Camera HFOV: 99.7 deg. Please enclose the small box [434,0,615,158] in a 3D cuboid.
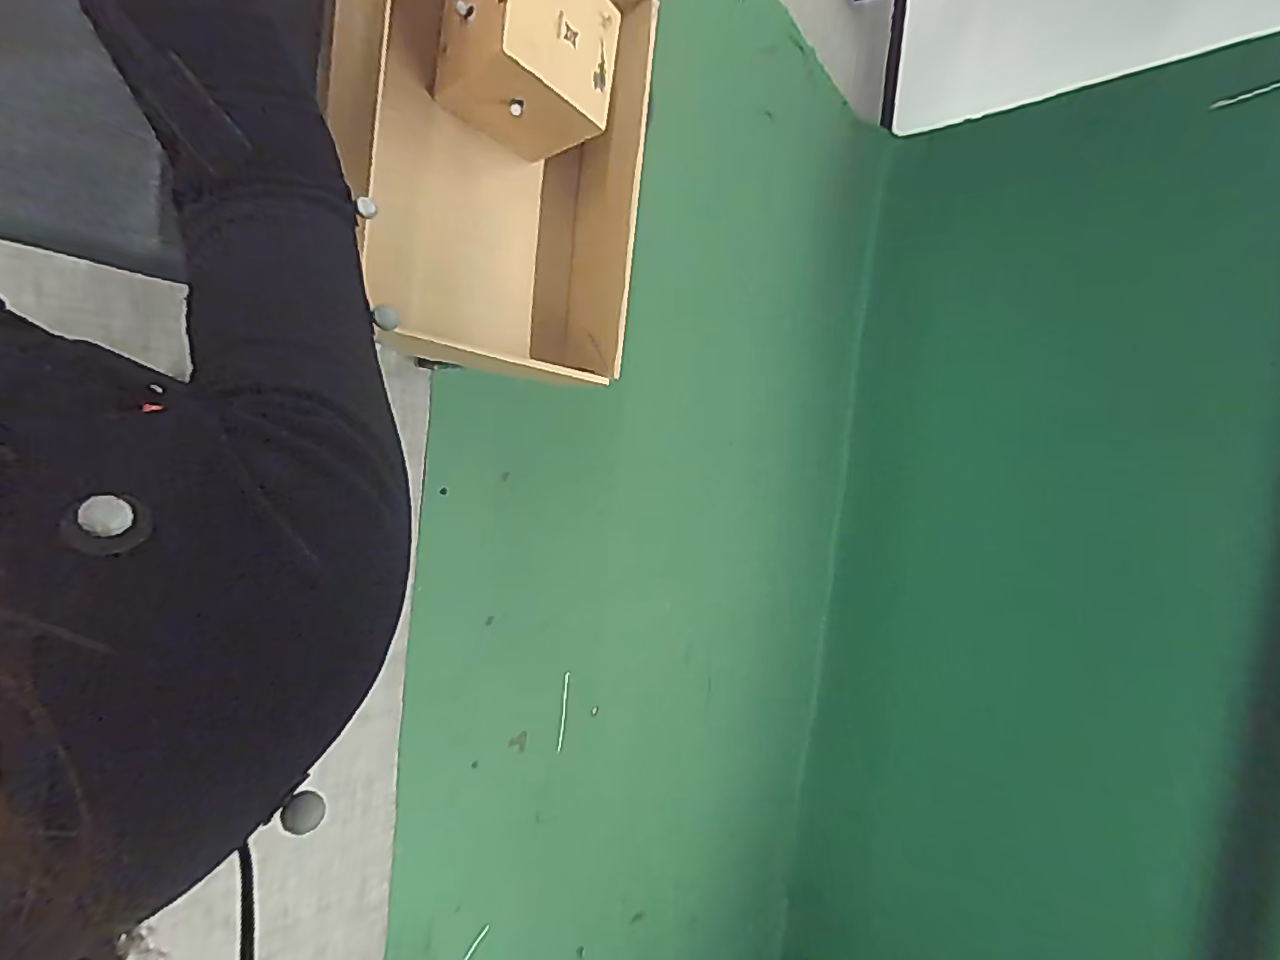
[{"bbox_3d":[-0.161,-0.581,0.747,0.179,0.176,0.168,6,93,-47],"label":"small box"}]
